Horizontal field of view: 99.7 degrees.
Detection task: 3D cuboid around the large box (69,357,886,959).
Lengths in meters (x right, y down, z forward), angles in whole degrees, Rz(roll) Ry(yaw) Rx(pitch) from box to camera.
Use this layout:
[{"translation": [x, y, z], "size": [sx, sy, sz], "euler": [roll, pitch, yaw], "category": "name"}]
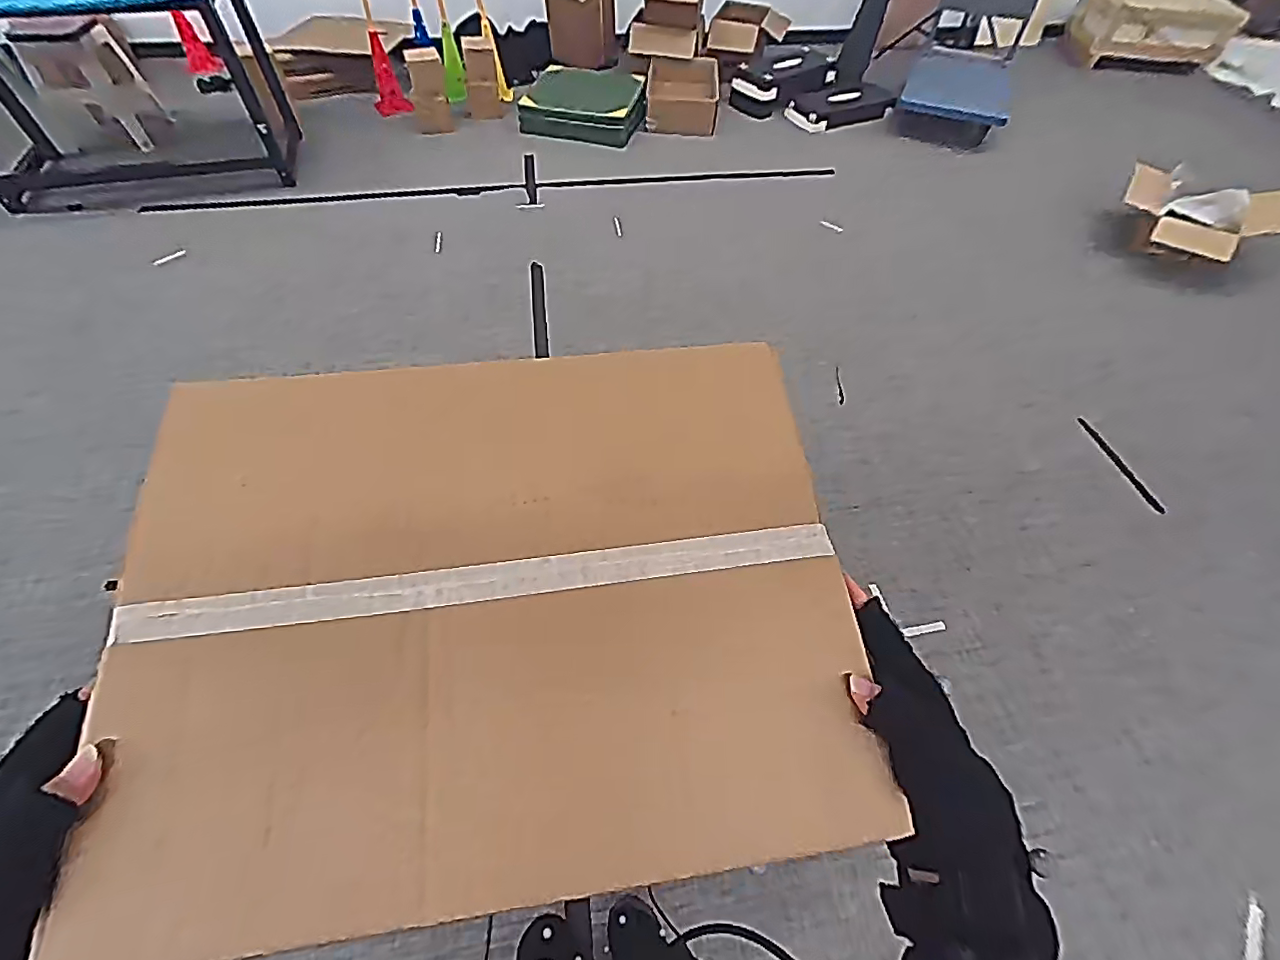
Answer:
[{"translation": [-0.091, 0.128, 0.457], "size": [0.408, 0.320, 0.320], "euler": [-6, 66, -6], "category": "large box"}]
